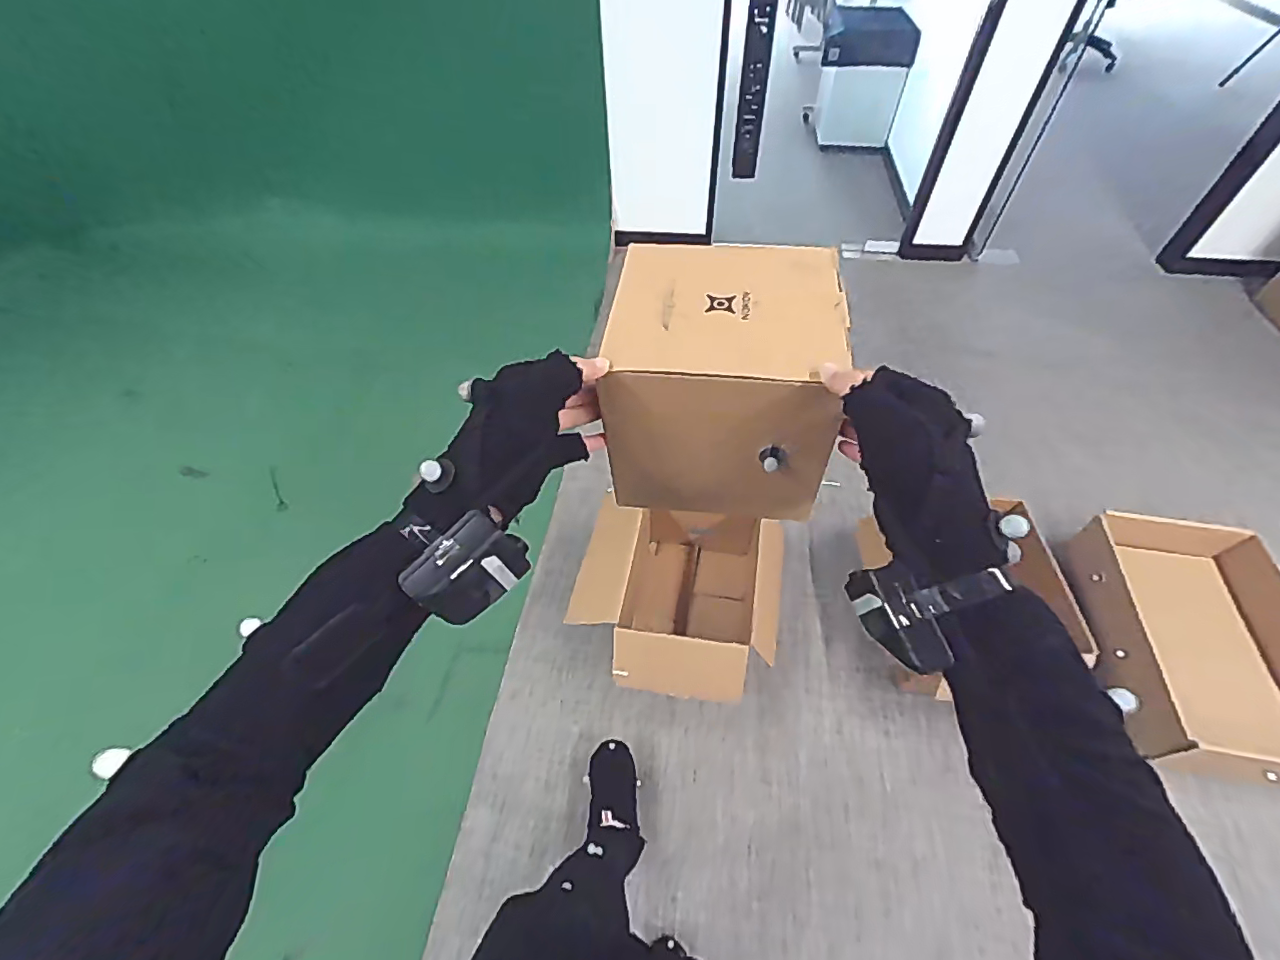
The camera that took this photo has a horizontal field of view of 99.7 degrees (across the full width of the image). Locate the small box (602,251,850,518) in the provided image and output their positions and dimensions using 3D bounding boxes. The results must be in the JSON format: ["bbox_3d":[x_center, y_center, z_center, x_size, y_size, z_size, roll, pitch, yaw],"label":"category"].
[{"bbox_3d":[0.072,-0.081,0.488,0.179,0.176,0.168,5,52,7],"label":"small box"}]
